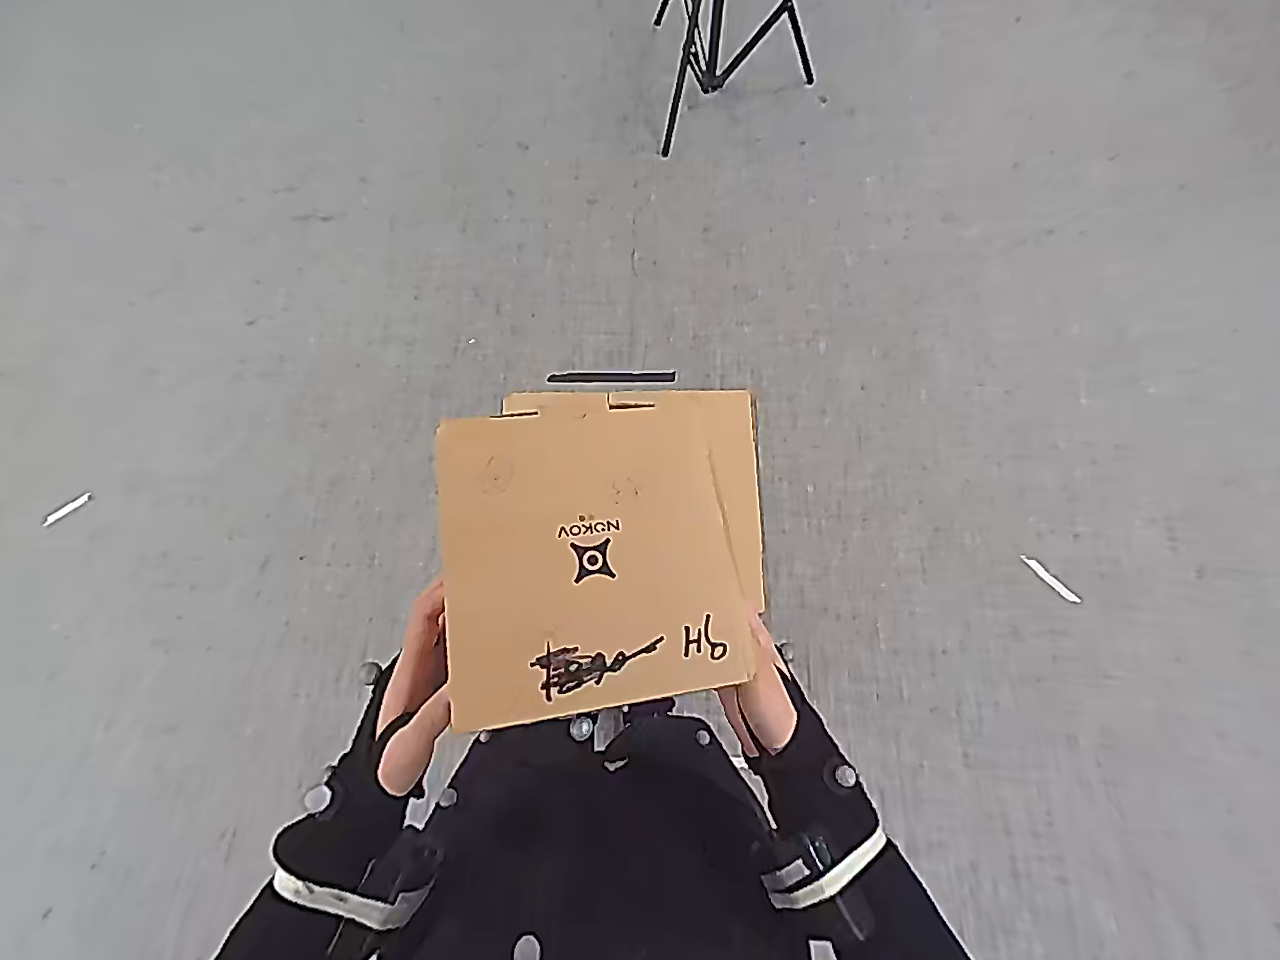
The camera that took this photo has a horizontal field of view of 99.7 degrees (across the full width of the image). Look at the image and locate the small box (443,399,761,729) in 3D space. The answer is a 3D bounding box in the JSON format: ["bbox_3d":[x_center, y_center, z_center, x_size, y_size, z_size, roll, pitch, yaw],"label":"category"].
[{"bbox_3d":[-0.037,0.063,0.381,0.168,0.176,0.179,-6,72,-10],"label":"small box"}]
